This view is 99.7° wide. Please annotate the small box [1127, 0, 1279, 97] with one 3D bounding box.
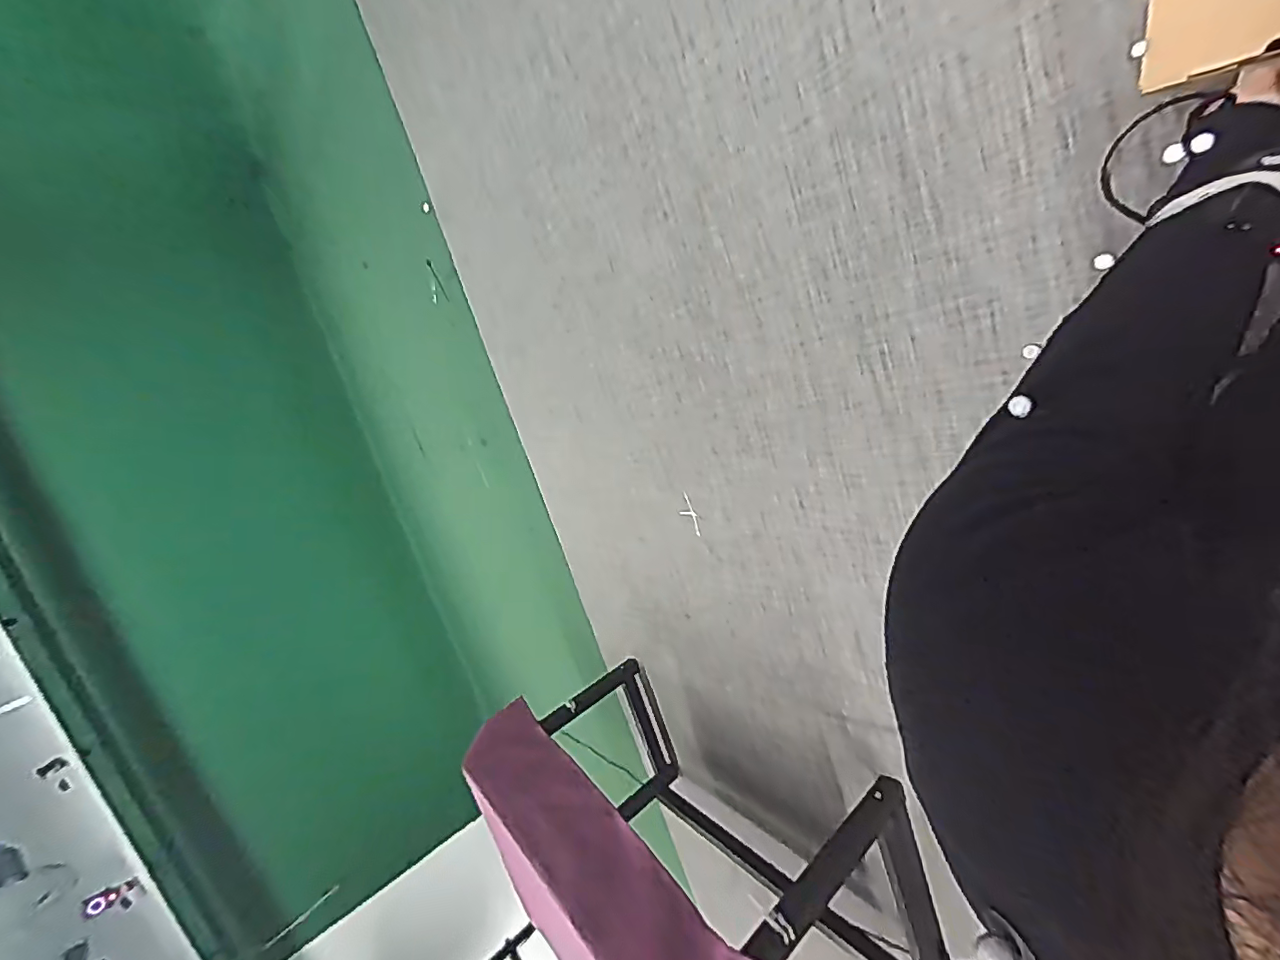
[{"bbox_3d":[0.546,-0.447,0.451,0.168,0.176,0.179,16,125,50],"label":"small box"}]
